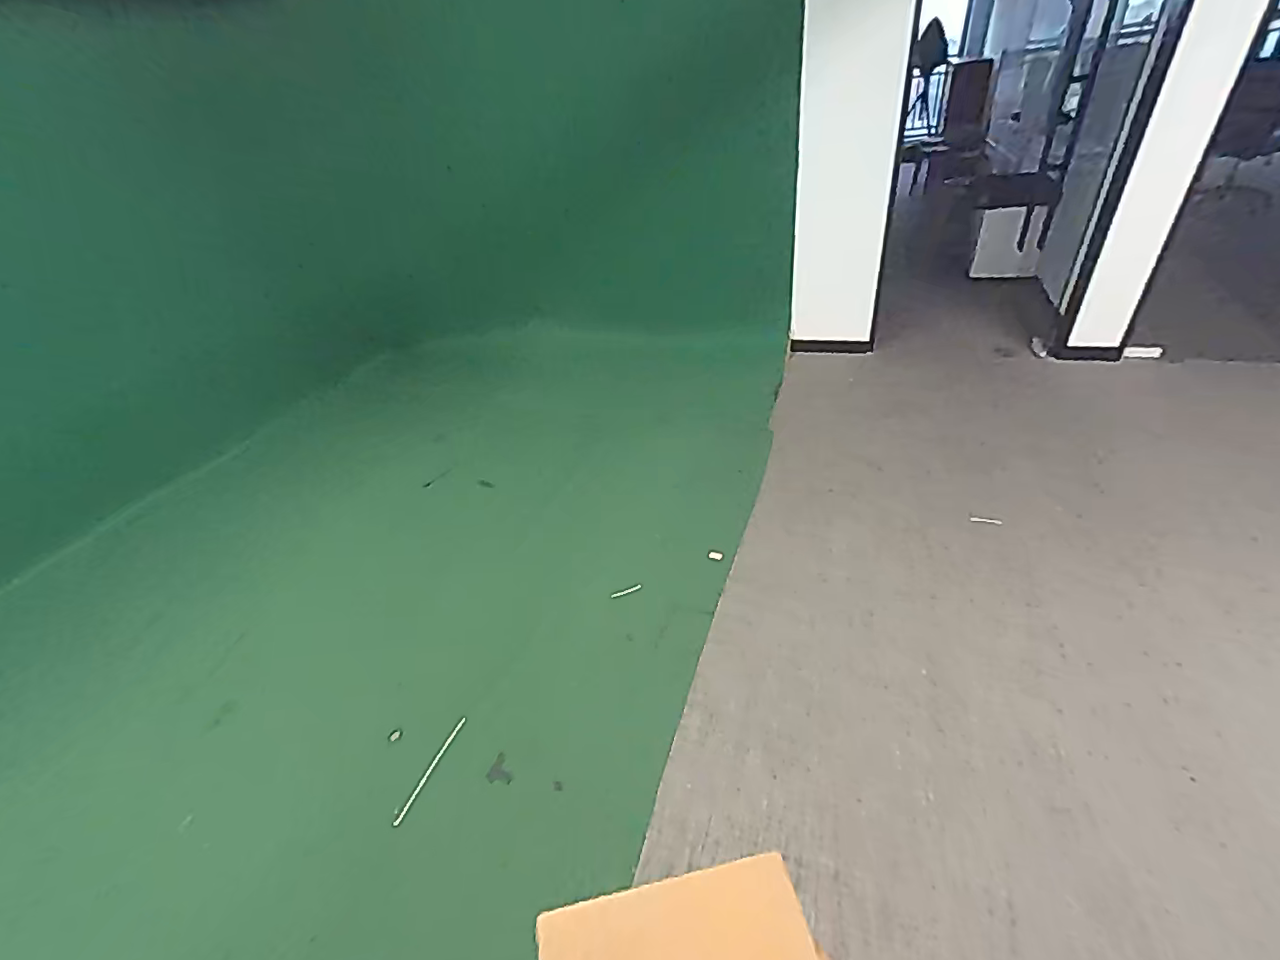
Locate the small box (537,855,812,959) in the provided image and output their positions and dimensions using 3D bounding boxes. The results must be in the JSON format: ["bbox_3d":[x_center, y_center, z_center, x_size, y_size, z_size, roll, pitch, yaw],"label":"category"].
[{"bbox_3d":[0.030,0.382,0.335,0.168,0.176,0.179,-8,36,-12],"label":"small box"}]
